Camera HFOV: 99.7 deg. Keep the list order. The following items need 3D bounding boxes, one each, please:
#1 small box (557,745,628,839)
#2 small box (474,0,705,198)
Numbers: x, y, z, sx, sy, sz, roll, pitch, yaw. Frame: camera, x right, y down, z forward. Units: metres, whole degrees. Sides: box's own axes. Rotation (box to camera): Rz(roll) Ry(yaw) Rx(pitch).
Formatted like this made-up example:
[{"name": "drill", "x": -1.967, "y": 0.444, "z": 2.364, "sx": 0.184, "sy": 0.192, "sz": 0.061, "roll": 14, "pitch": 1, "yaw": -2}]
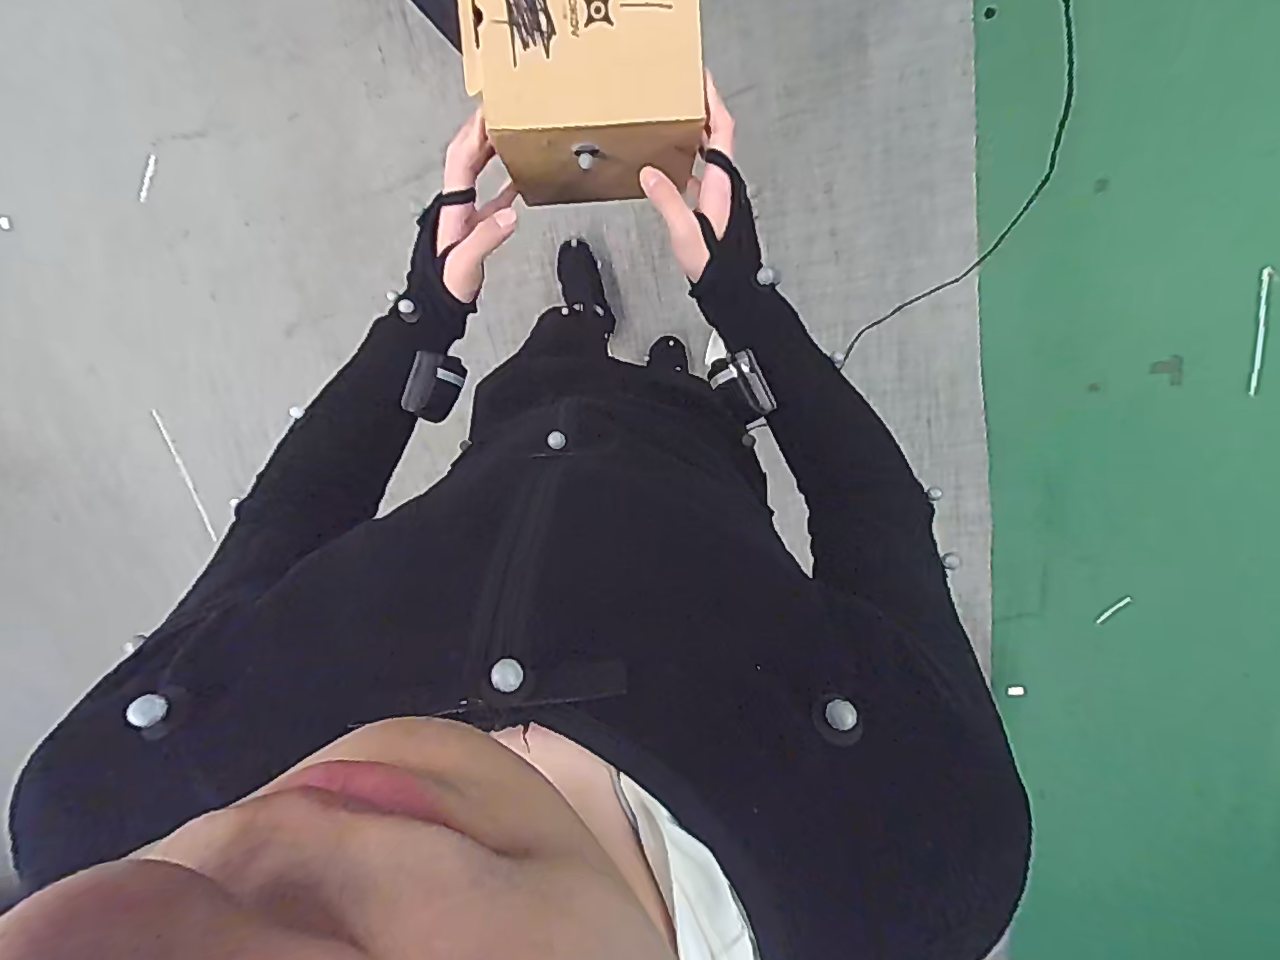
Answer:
[{"name": "small box", "x": -0.130, "y": 0.882, "z": 1.539, "sx": 0.168, "sy": 0.176, "sz": 0.179, "roll": -3, "pitch": 105, "yaw": 7}, {"name": "small box", "x": -0.041, "y": -0.372, "z": 0.491, "sx": 0.179, "sy": 0.176, "sz": 0.168, "roll": -4, "pitch": 99, "yaw": -2}]
